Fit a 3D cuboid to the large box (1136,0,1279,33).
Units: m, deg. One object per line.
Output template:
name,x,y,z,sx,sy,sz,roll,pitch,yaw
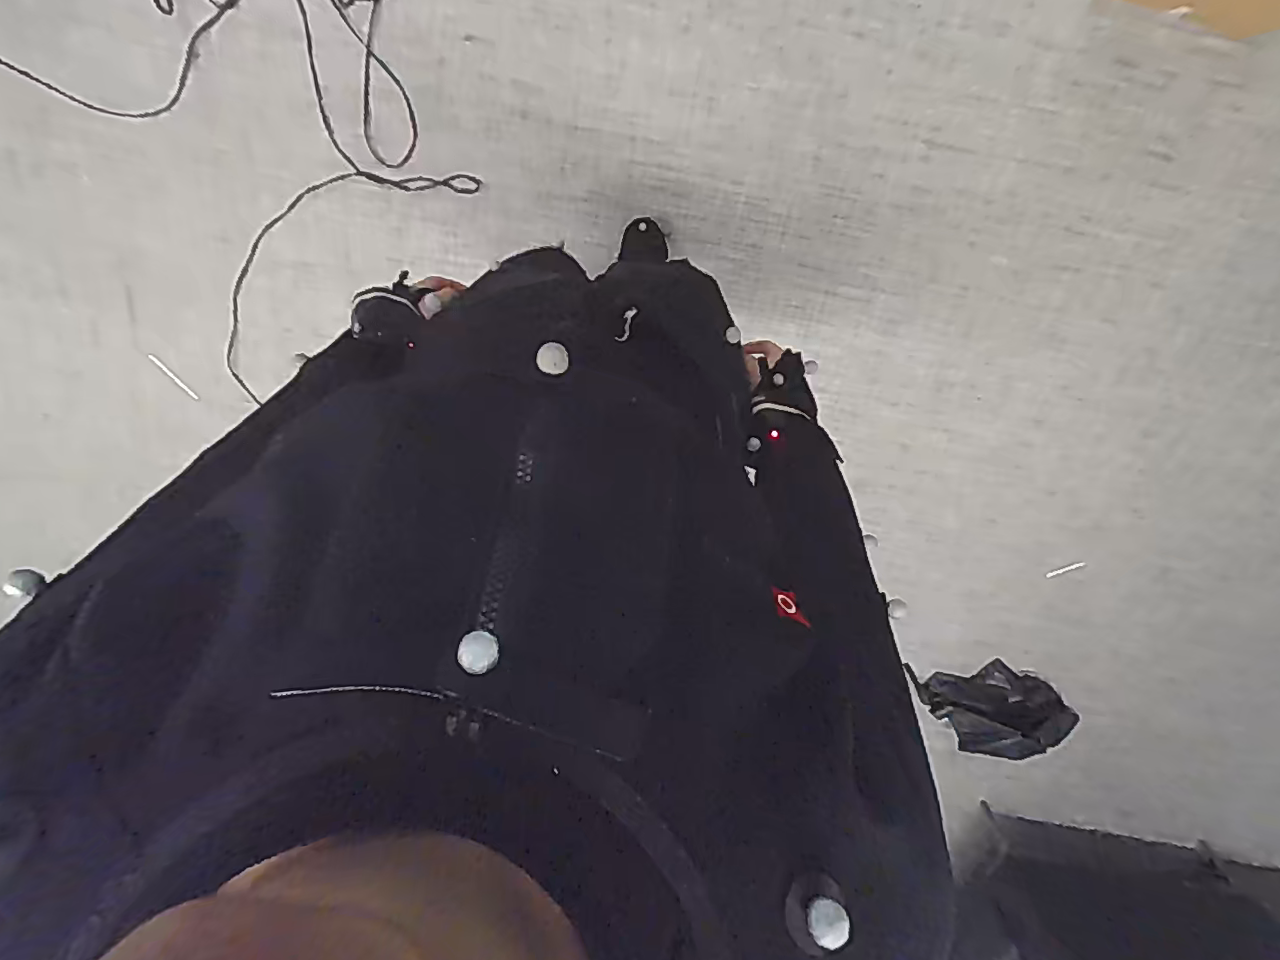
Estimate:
large box,0.984,-0.932,0.737,0.320,0.320,0.408,14,118,-2
